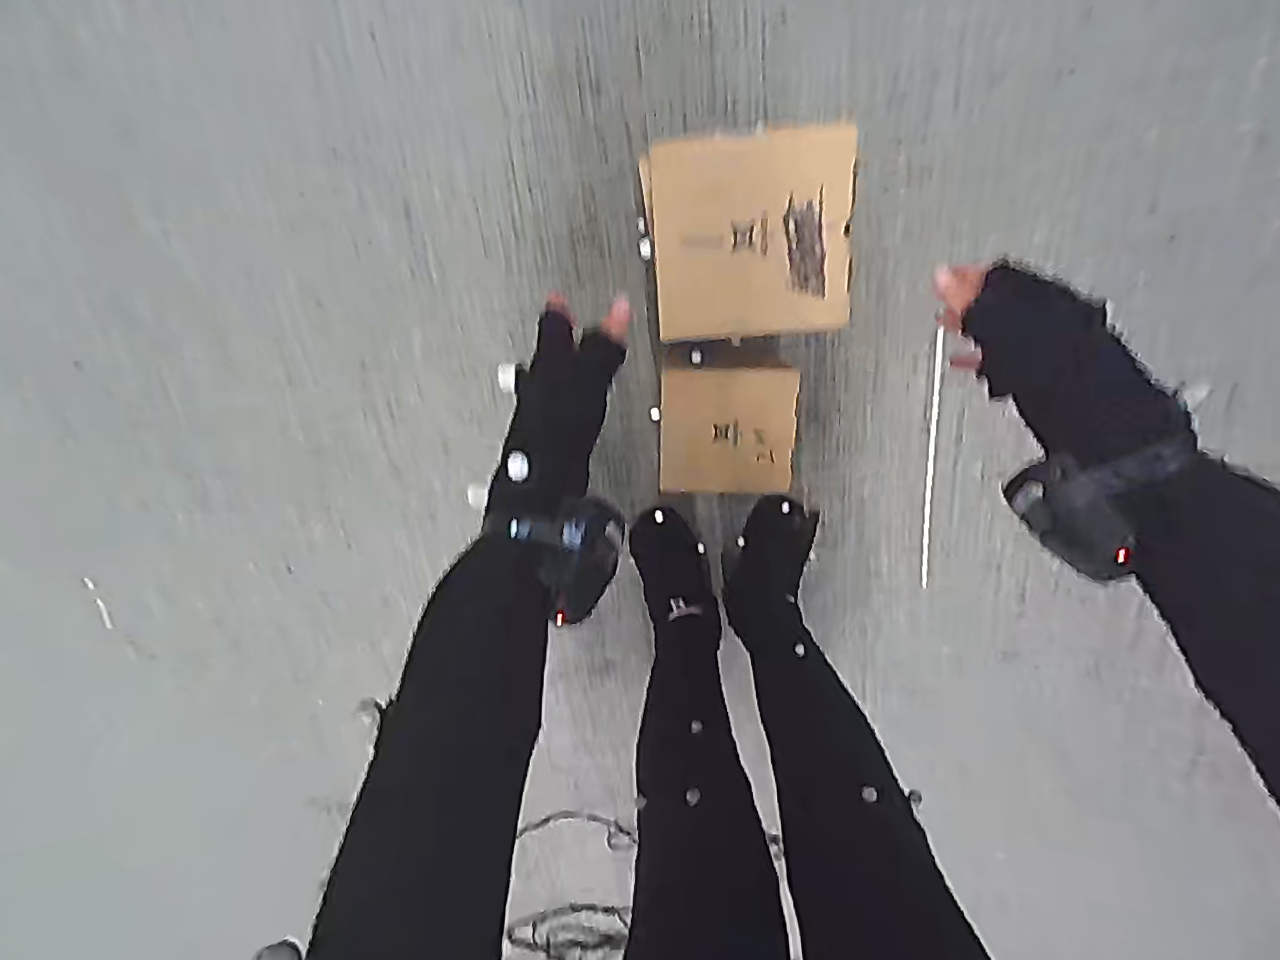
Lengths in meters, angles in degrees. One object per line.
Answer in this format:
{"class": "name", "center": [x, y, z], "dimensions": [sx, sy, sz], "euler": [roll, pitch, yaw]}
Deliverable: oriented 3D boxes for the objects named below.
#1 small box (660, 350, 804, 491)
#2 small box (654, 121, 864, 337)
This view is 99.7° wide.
{"class": "small box", "center": [0.120, -0.091, 0.771], "dimensions": [0.179, 0.176, 0.168], "euler": [1, 110, 3]}
{"class": "small box", "center": [0.105, -0.240, 0.546], "dimensions": [0.179, 0.176, 0.168], "euler": [-3, 109, 4]}
